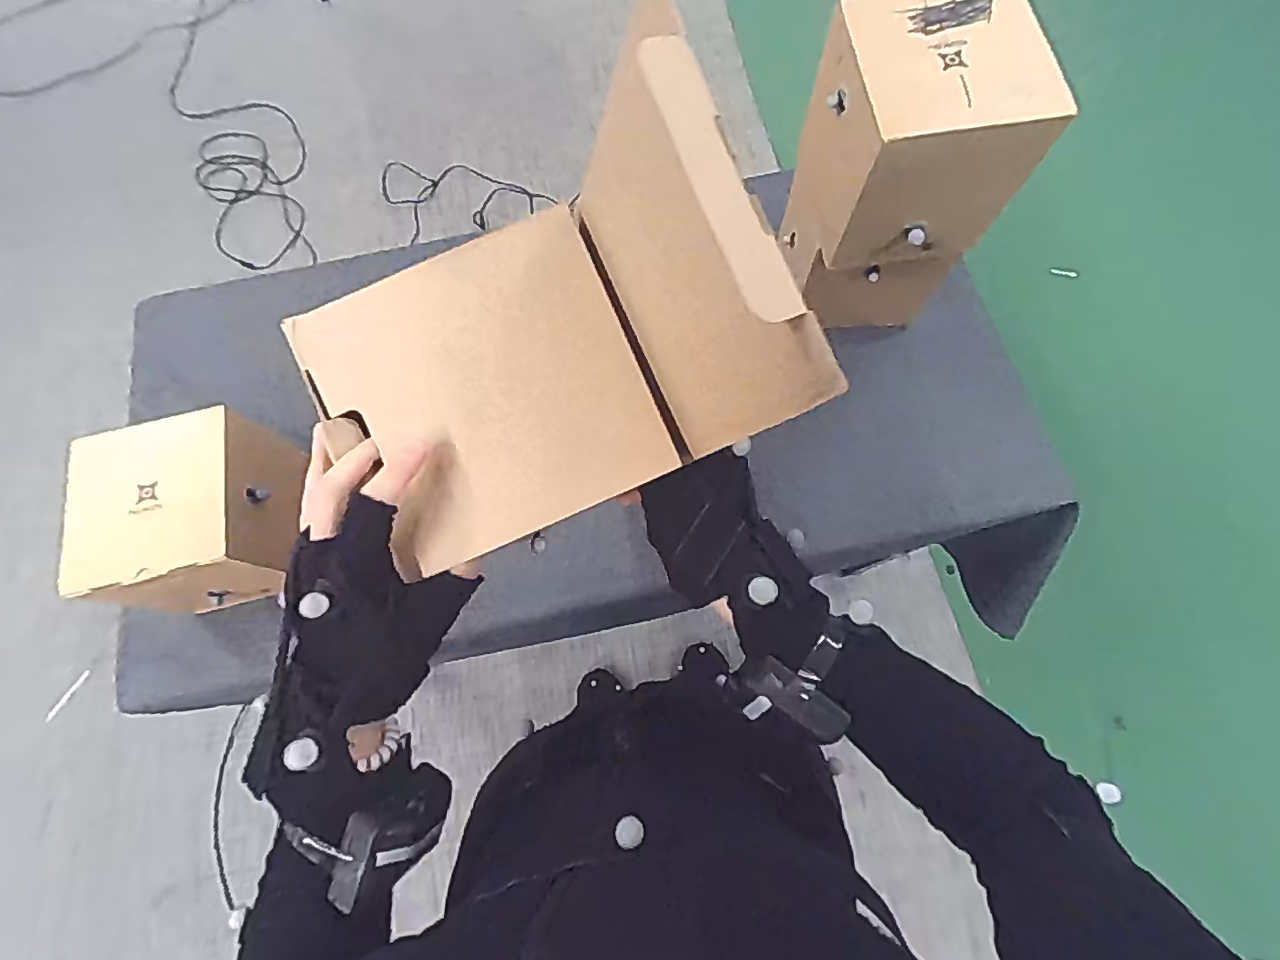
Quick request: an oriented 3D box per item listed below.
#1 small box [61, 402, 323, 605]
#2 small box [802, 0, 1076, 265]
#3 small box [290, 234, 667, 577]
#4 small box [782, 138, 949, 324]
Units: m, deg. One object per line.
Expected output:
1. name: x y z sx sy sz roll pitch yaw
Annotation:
1. small box: -0.501 0.037 0.633 0.168 0.176 0.179 -14 73 -3
2. small box: 0.276 -0.351 0.550 0.168 0.176 0.179 -7 73 1
3. small box: -0.106 -0.041 0.398 0.179 0.176 0.168 -23 90 -15
4. small box: 0.290 -0.321 0.711 0.179 0.176 0.168 -1 73 2
